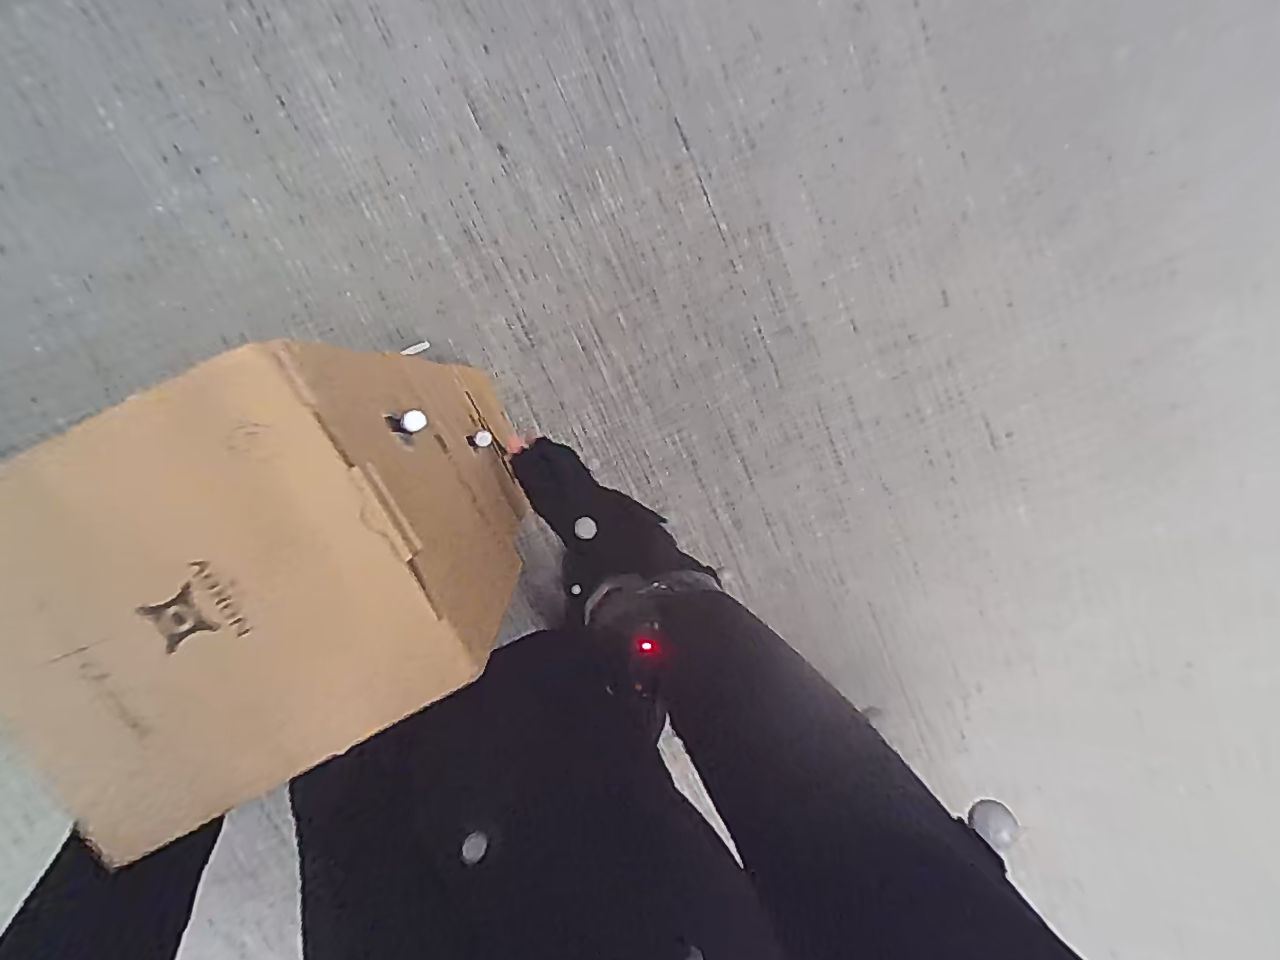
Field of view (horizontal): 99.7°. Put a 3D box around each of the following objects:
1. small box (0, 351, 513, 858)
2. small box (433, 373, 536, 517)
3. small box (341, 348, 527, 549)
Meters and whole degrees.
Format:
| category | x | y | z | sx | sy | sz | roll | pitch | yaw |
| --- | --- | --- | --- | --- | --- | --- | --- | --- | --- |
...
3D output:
| category | x | y | z | sx | sy | sz | roll | pitch | yaw |
| --- | --- | --- | --- | --- | --- | --- | --- | --- | --- |
| small box | -0.186 | 0.045 | 0.303 | 0.179 | 0.176 | 0.168 | -28 | 99 | 0 |
| small box | -0.230 | -0.012 | 0.622 | 0.179 | 0.176 | 0.168 | -26 | 99 | -1 |
| small box | -0.211 | 0.020 | 0.457 | 0.179 | 0.176 | 0.168 | -33 | 88 | -2 |
